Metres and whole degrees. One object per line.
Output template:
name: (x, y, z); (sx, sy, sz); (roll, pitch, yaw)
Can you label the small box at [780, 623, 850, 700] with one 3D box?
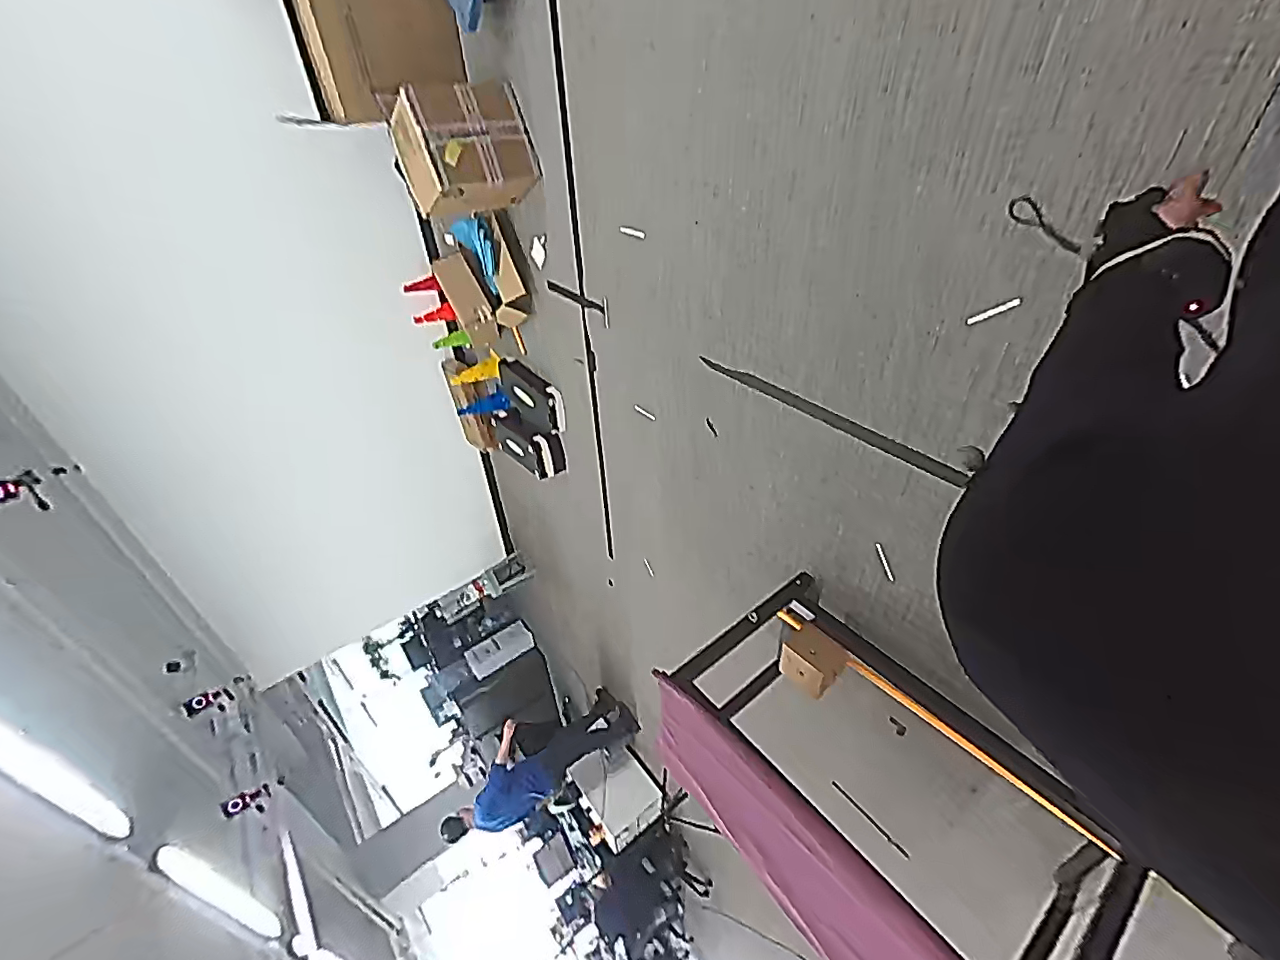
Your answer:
small box: (0.641, 0.659, 1.983); (0.179, 0.176, 0.168); (34, 140, 40)
